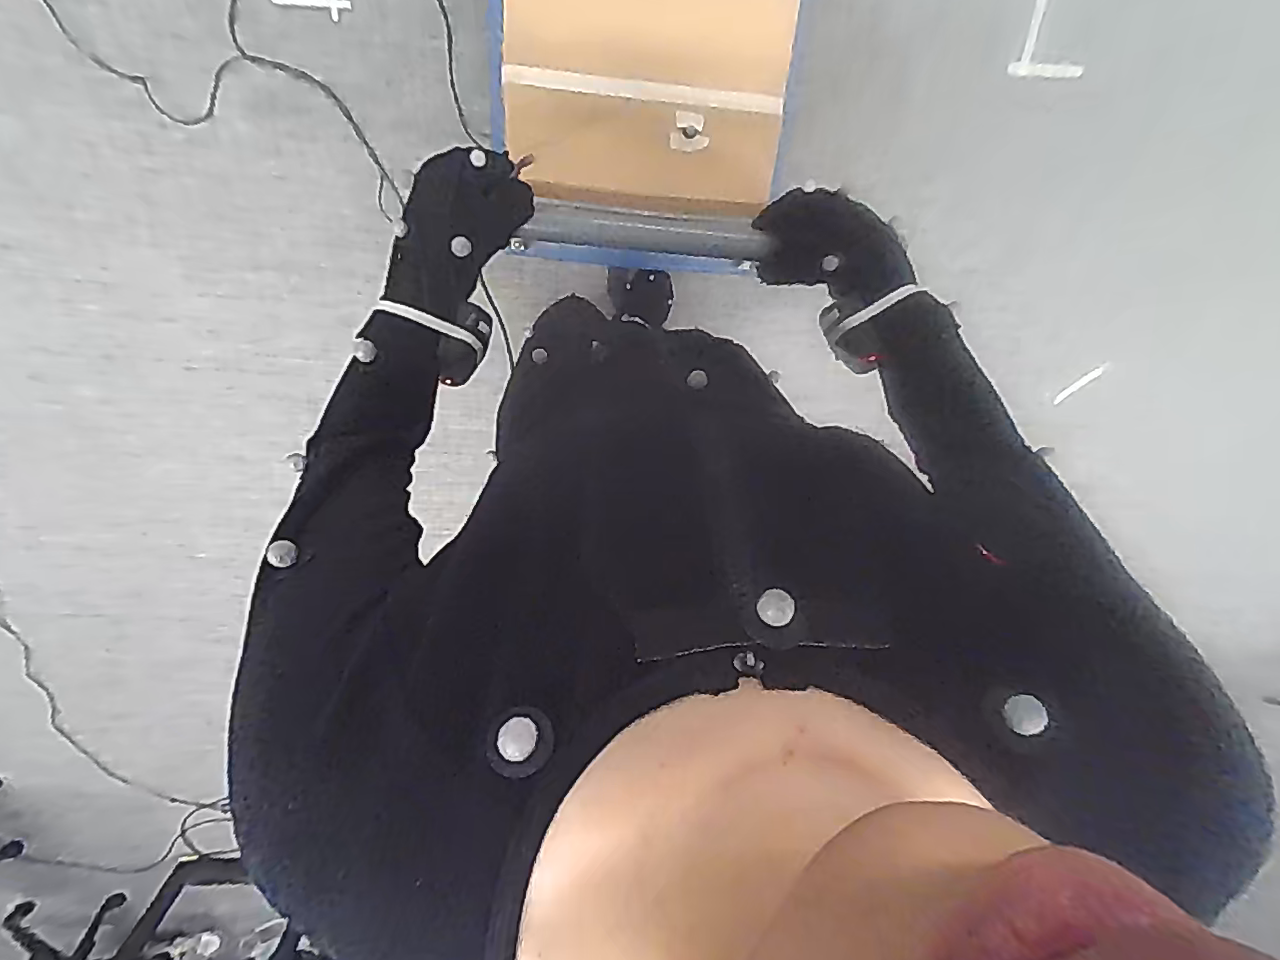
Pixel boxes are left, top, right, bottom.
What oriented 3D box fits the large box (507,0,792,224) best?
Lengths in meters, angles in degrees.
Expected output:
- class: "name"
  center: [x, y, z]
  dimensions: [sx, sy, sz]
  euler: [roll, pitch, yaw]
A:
- class: "large box"
  center: [-0.004, -0.629, 0.929]
  dimensions: [0.408, 0.320, 0.320]
  euler: [2, 114, -6]
